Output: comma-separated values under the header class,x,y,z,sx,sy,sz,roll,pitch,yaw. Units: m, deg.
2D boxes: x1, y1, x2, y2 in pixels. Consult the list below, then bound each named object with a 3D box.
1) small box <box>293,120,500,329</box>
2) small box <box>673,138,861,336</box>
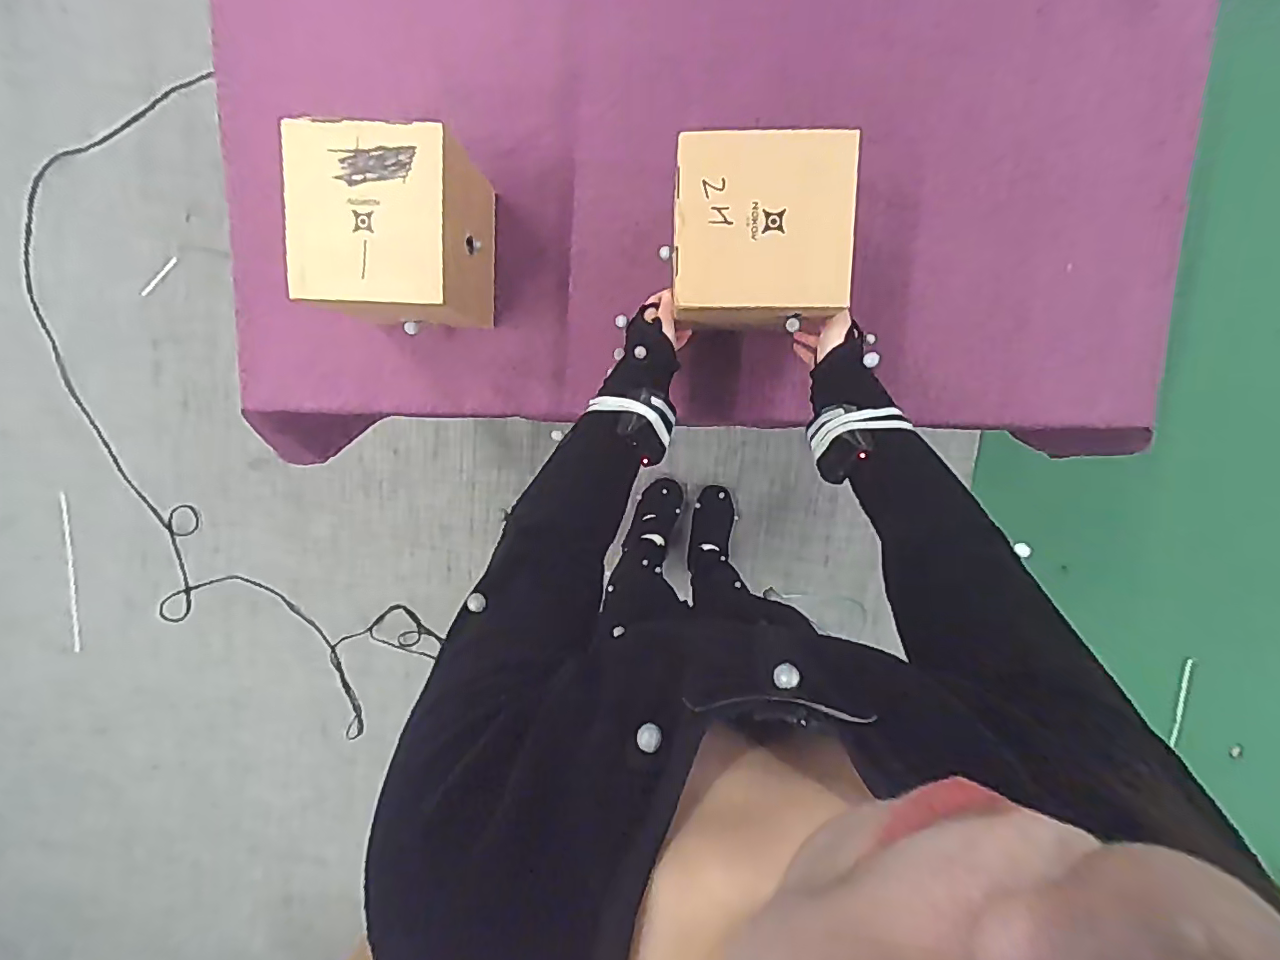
class,x,y,z,sx,sy,sz,roll,pitch,yaw
small box,-0.269,-0.282,0.631,0.168,0.176,0.179,3,98,2
small box,0.129,-0.260,0.614,0.179,0.176,0.168,2,97,3
